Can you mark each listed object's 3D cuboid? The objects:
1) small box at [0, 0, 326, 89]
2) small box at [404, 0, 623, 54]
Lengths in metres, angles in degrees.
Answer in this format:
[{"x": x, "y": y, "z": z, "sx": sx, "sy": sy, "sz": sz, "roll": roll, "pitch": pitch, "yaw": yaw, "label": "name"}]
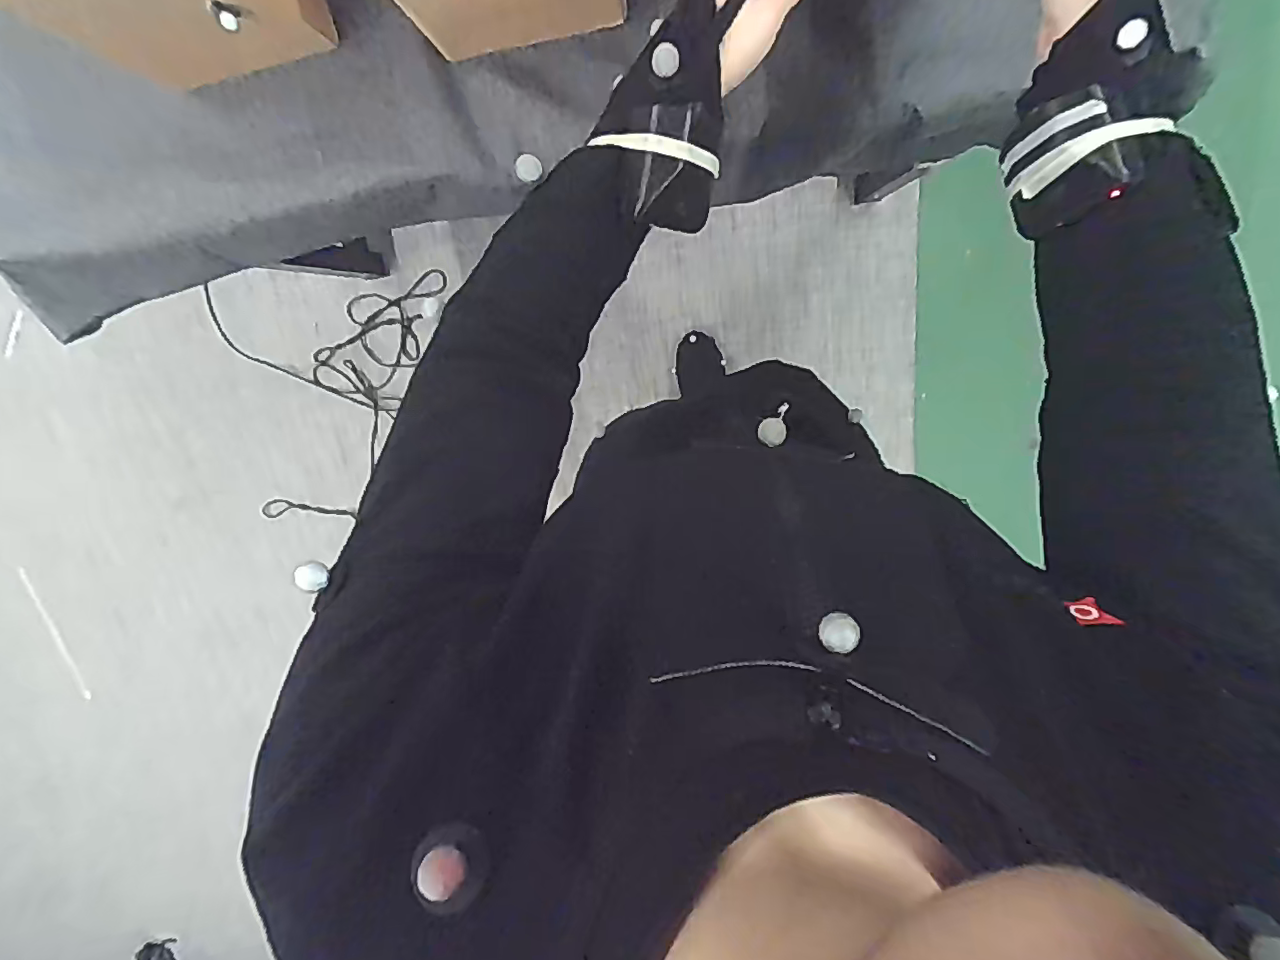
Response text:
[{"x": -0.386, "y": -0.451, "z": 0.426, "sx": 0.179, "sy": 0.176, "sz": 0.168, "roll": -10, "pitch": 104, "yaw": 8, "label": "small box"}, {"x": -0.117, "y": -0.461, "z": 0.404, "sx": 0.179, "sy": 0.176, "sz": 0.168, "roll": -8, "pitch": 105, "yaw": 6, "label": "small box"}]
